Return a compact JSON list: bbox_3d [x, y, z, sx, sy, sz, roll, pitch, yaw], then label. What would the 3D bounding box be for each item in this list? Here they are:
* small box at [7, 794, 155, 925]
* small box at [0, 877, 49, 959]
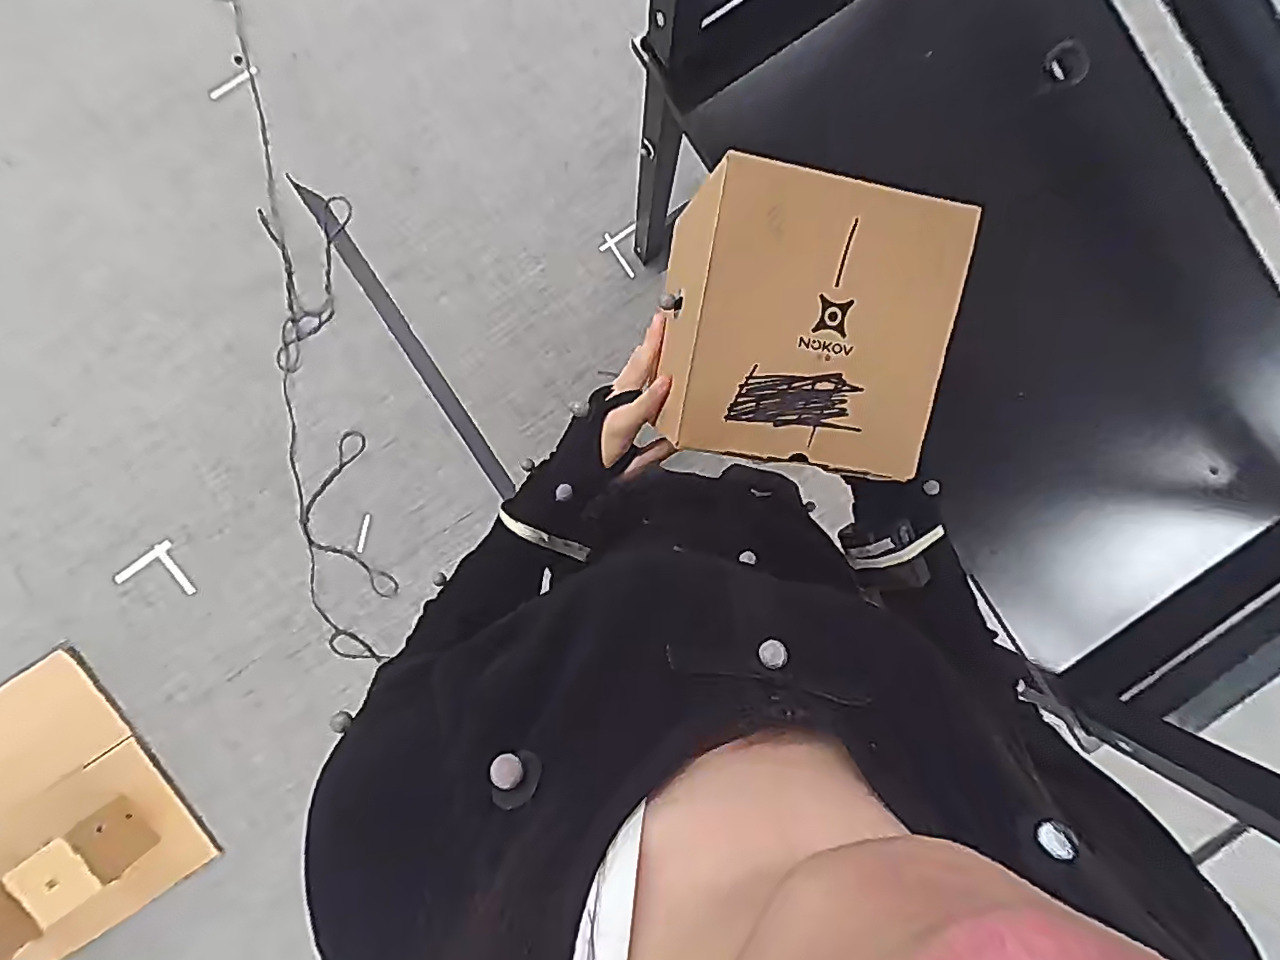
[{"bbox_3d":[-1.398,0.951,1.373,0.179,0.176,0.168,-36,93,0],"label":"small box"},{"bbox_3d":[-1.622,1.124,1.370,0.179,0.176,0.168,-41,93,-1],"label":"small box"}]
